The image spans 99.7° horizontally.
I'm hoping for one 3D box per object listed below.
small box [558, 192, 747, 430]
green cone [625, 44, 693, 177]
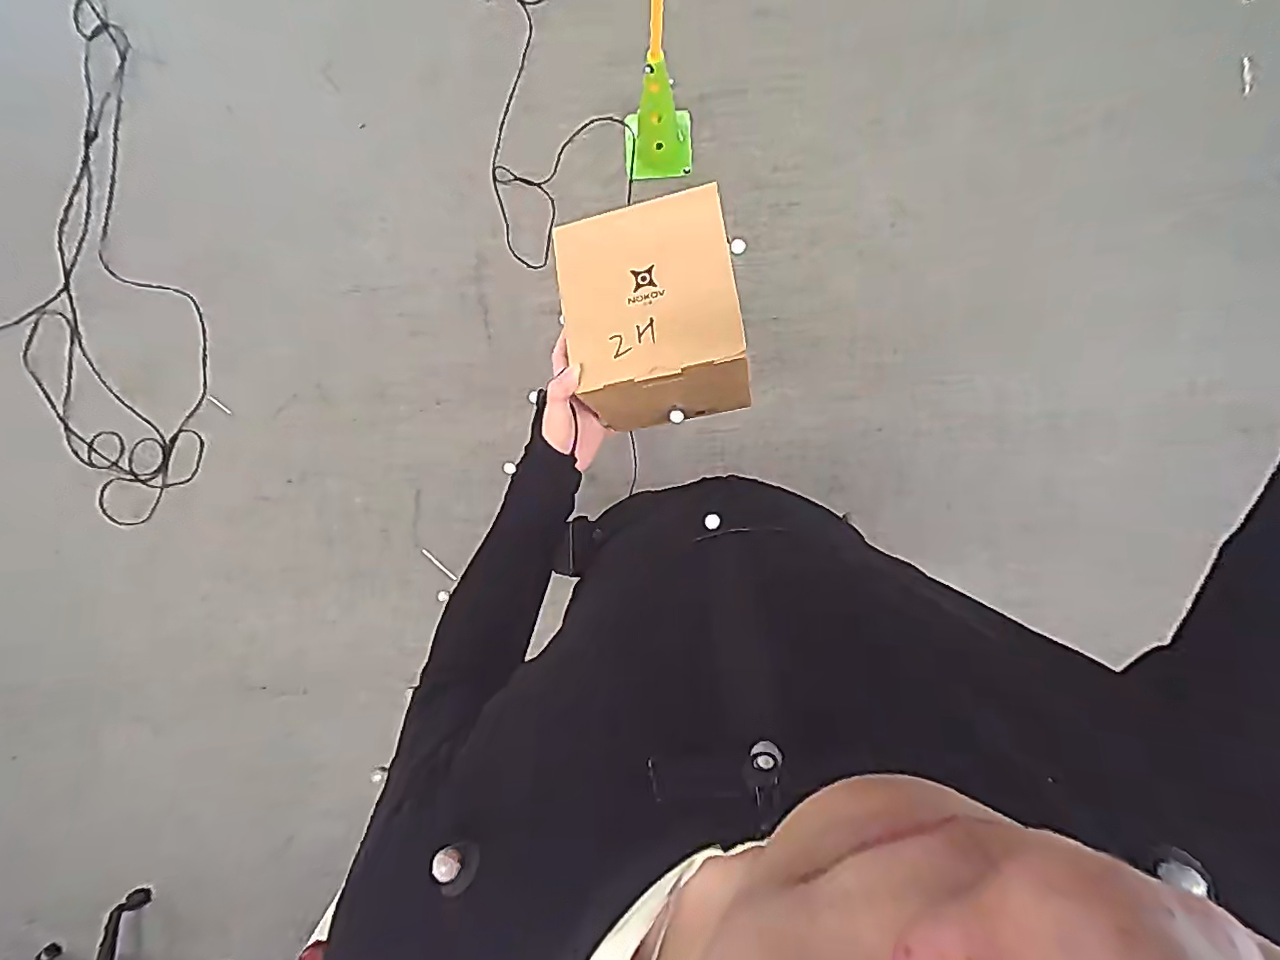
[{"bbox_3d":[0.022,-0.167,0.590,0.168,0.176,0.179,-9,81,12],"label":"small box"},{"bbox_3d":[0.045,-1.034,1.480,0.202,0.368,0.200,-3,89,4],"label":"green cone"}]
